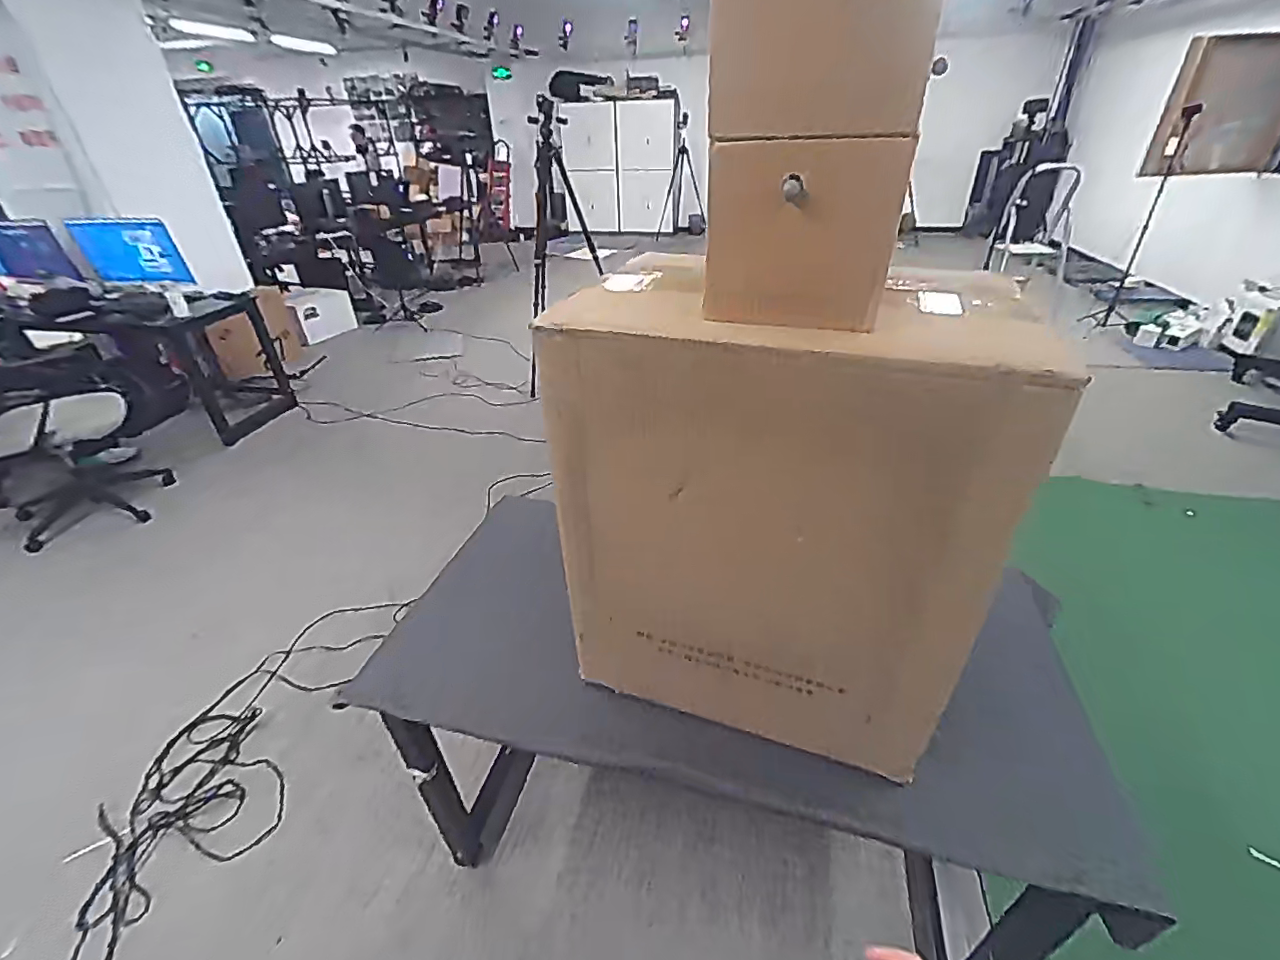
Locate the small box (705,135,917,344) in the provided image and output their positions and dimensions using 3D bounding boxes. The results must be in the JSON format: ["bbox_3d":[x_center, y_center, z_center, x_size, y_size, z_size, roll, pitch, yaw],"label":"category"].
[{"bbox_3d":[0.174,-0.254,0.567,0.179,0.176,0.168,10,37,18],"label":"small box"}]
